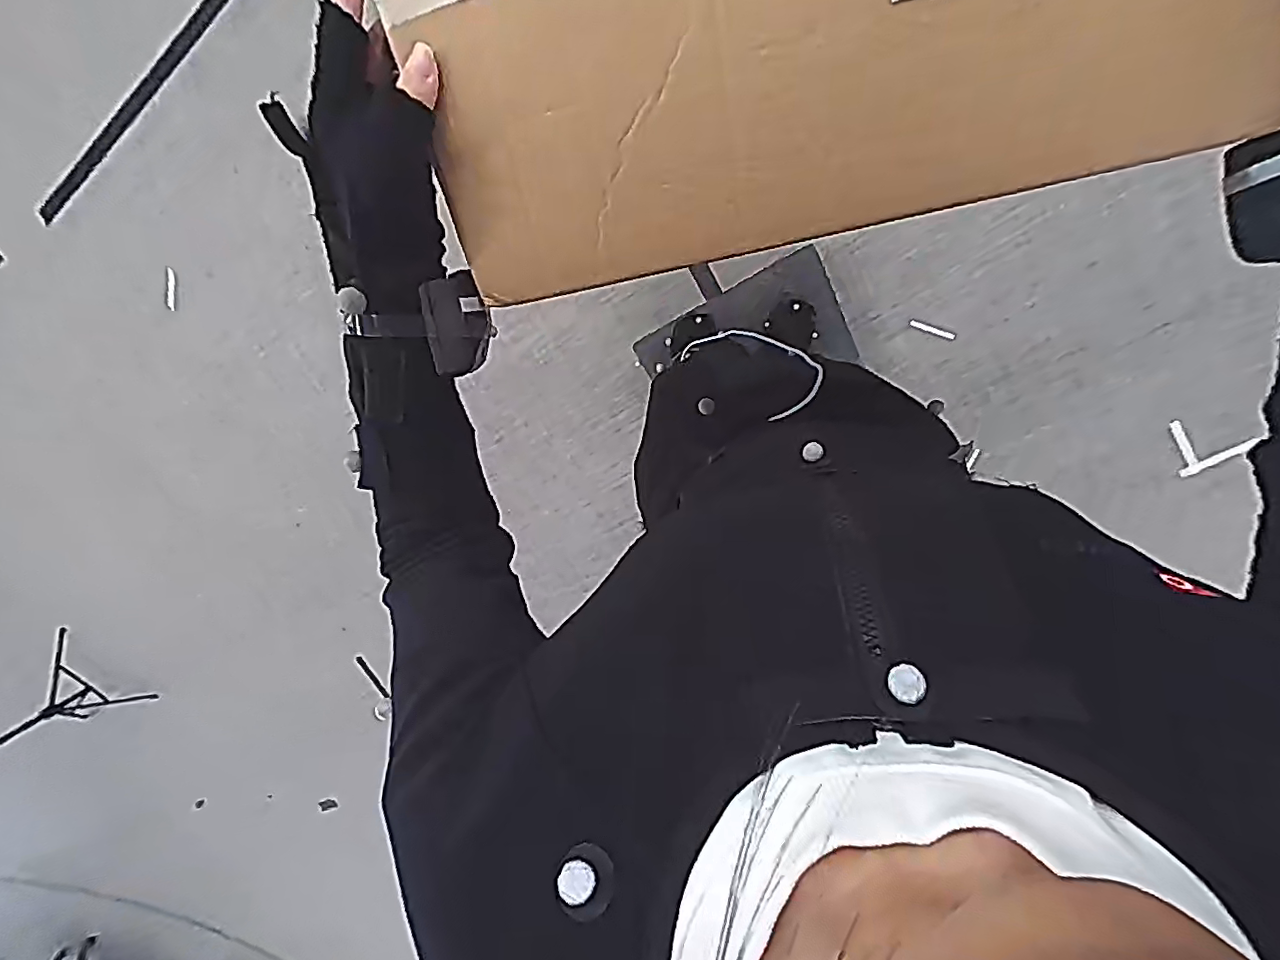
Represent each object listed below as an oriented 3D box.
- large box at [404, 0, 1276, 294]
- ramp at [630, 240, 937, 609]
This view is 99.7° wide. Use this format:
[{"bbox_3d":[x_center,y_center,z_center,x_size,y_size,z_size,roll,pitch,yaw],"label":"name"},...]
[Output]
[{"bbox_3d":[0.085,-0.349,0.368,0.408,0.320,0.320,-8,117,14],"label":"large box"},{"bbox_3d":[0.430,-0.072,1.494,0.509,0.206,0.991,-28,102,17],"label":"ramp"}]
